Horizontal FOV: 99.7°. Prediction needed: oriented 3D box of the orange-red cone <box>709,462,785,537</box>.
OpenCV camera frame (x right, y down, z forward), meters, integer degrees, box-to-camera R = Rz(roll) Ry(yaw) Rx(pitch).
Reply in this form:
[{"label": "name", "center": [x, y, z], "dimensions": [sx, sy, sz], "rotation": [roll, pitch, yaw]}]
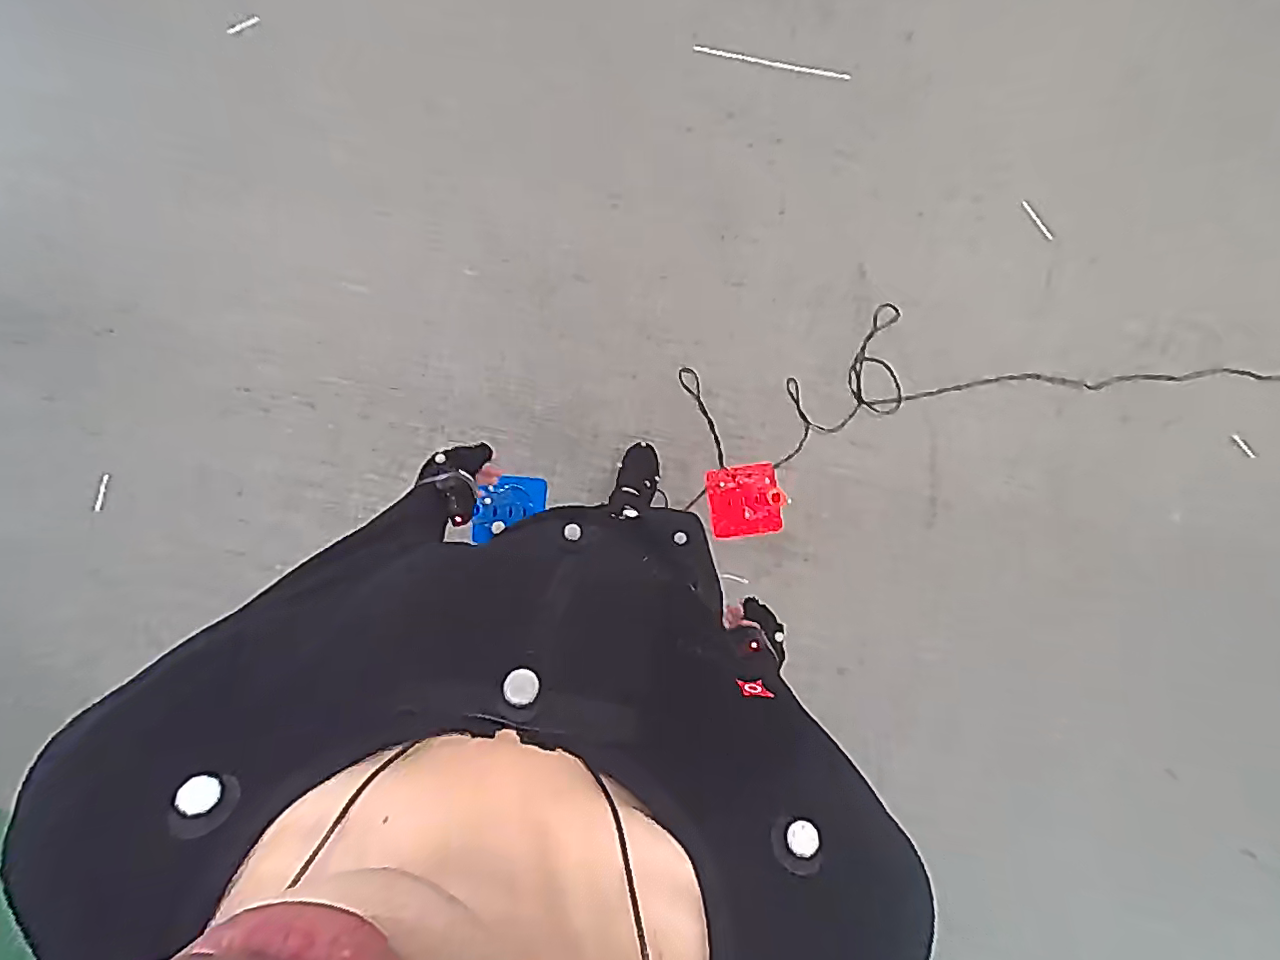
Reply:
[{"label": "orange-red cone", "center": [0.299, 0.047, 1.346], "dimensions": [0.198, 0.360, 0.199], "rotation": [-7, 88, 0]}]
